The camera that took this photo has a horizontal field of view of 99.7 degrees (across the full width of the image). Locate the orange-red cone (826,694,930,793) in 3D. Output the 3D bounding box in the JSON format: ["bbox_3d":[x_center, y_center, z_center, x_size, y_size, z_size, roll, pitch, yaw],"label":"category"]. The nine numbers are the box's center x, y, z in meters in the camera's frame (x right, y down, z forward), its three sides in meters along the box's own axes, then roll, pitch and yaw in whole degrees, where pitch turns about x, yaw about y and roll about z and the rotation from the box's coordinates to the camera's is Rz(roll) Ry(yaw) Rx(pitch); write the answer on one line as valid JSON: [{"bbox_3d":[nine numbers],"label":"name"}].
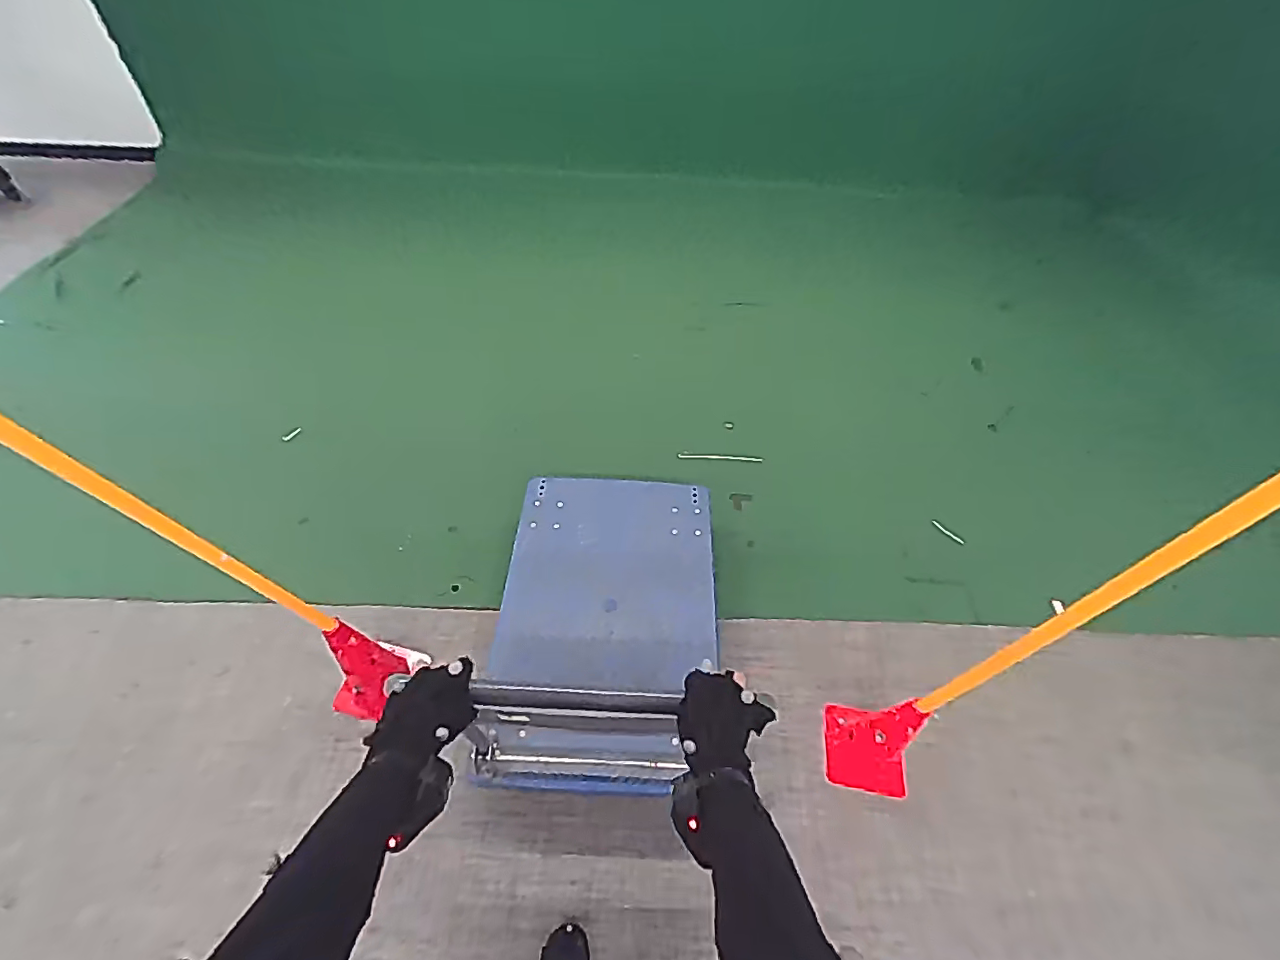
[{"bbox_3d":[0.587,0.579,1.268,0.198,0.360,0.199,10,52,7],"label":"orange-red cone"}]
